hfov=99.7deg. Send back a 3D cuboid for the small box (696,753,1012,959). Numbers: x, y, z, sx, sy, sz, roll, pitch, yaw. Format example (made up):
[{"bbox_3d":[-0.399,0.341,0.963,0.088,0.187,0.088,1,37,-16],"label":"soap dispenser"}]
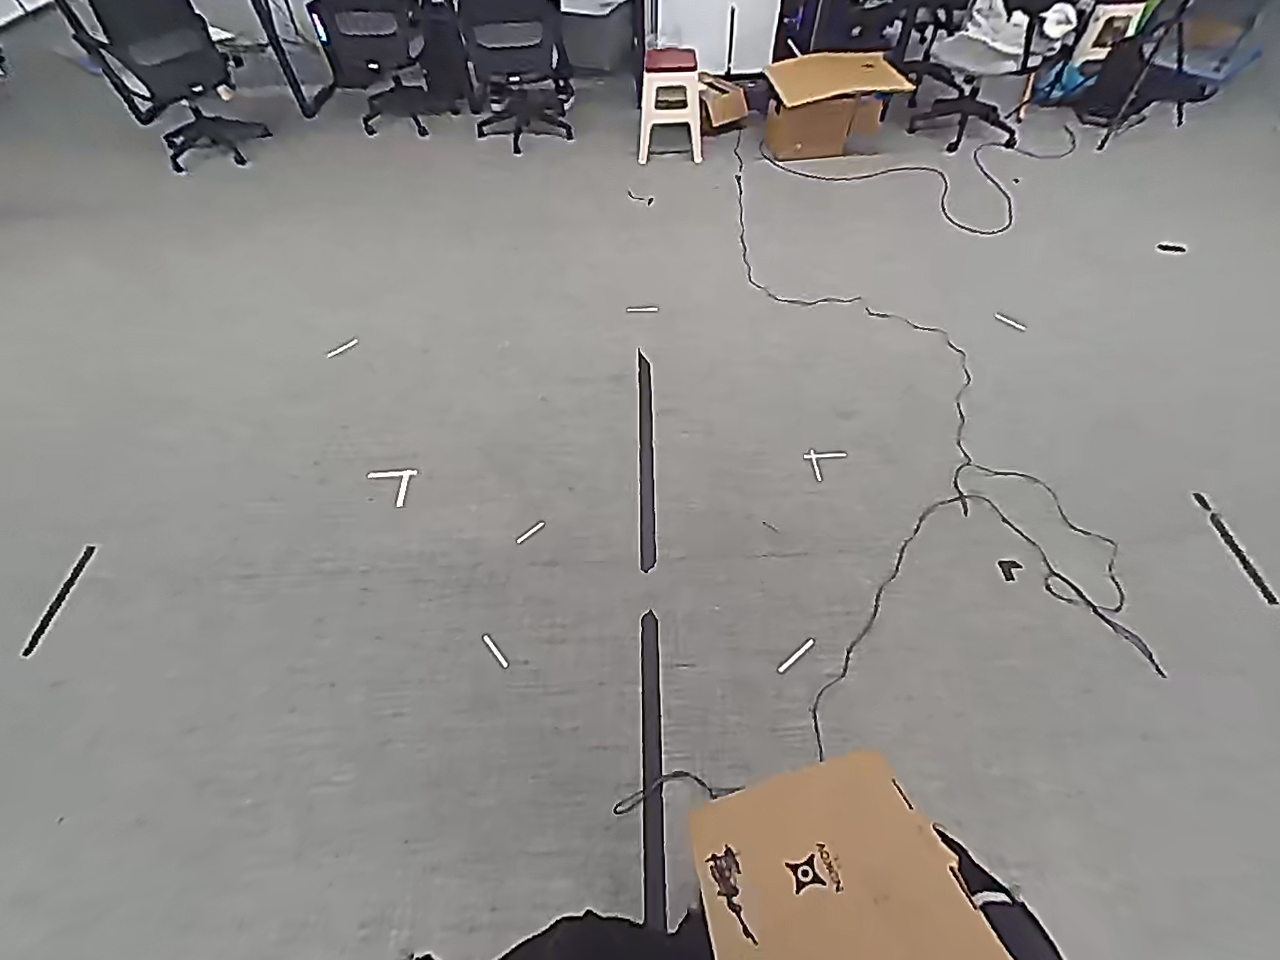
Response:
[{"bbox_3d":[0.161,0.365,0.429,0.179,0.176,0.168,-19,18,0],"label":"small box"}]
